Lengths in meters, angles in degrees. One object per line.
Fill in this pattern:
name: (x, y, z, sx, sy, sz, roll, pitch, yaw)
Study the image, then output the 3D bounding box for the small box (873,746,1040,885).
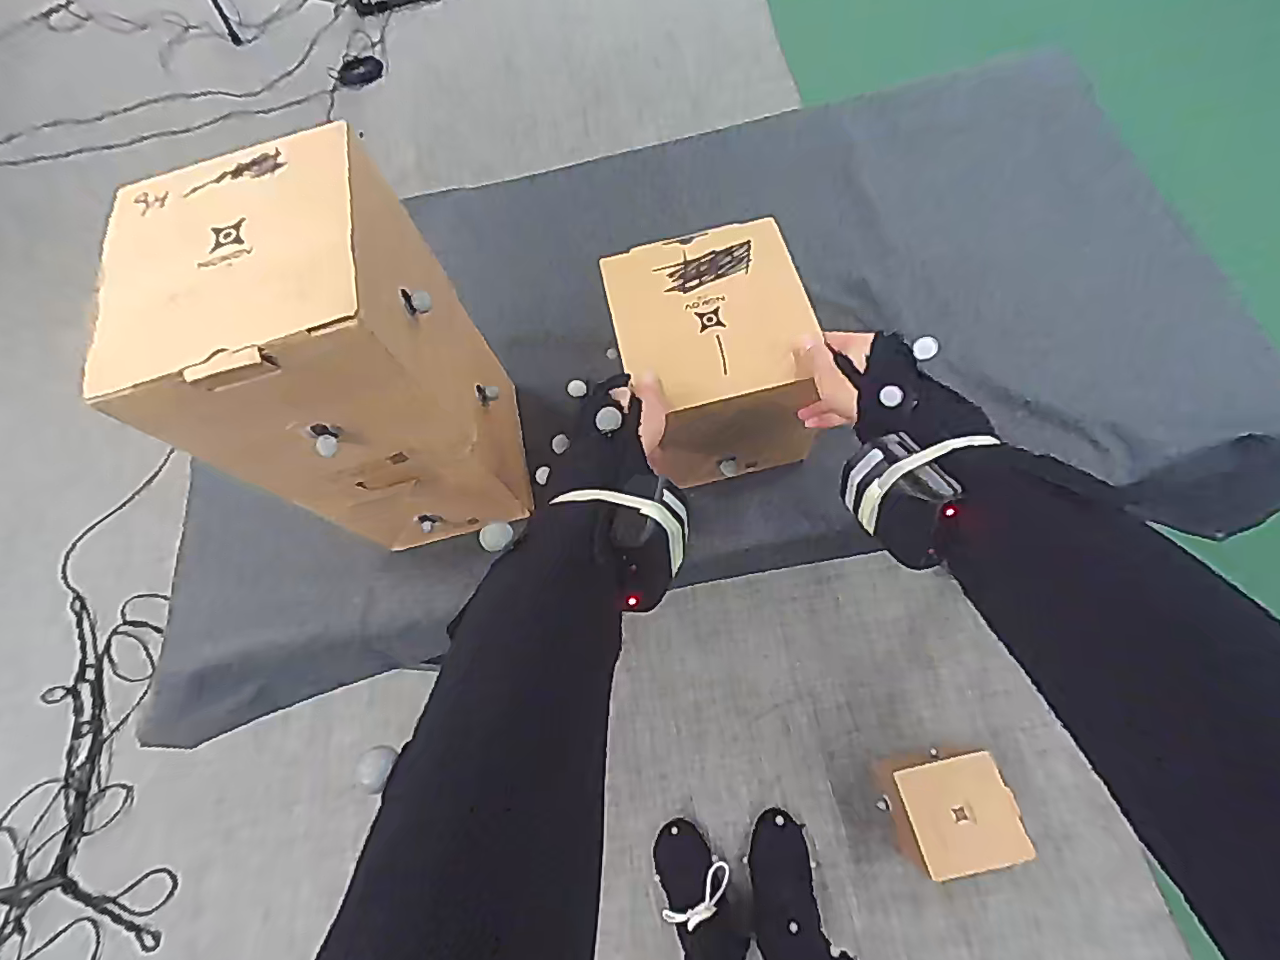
small box: (0.551, 0.588, 0.971, 0.179, 0.176, 0.168, -16, 66, 2)

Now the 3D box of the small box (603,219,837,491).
small box: (0.069, -0.111, 0.529, 0.168, 0.176, 0.179, -14, 67, 2)

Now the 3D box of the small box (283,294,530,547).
small box: (-0.224, -0.050, 0.551, 0.168, 0.176, 0.179, -15, 67, 2)

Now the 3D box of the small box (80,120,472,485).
small box: (-0.240, -0.109, 0.400, 0.168, 0.176, 0.179, -16, 68, 1)
